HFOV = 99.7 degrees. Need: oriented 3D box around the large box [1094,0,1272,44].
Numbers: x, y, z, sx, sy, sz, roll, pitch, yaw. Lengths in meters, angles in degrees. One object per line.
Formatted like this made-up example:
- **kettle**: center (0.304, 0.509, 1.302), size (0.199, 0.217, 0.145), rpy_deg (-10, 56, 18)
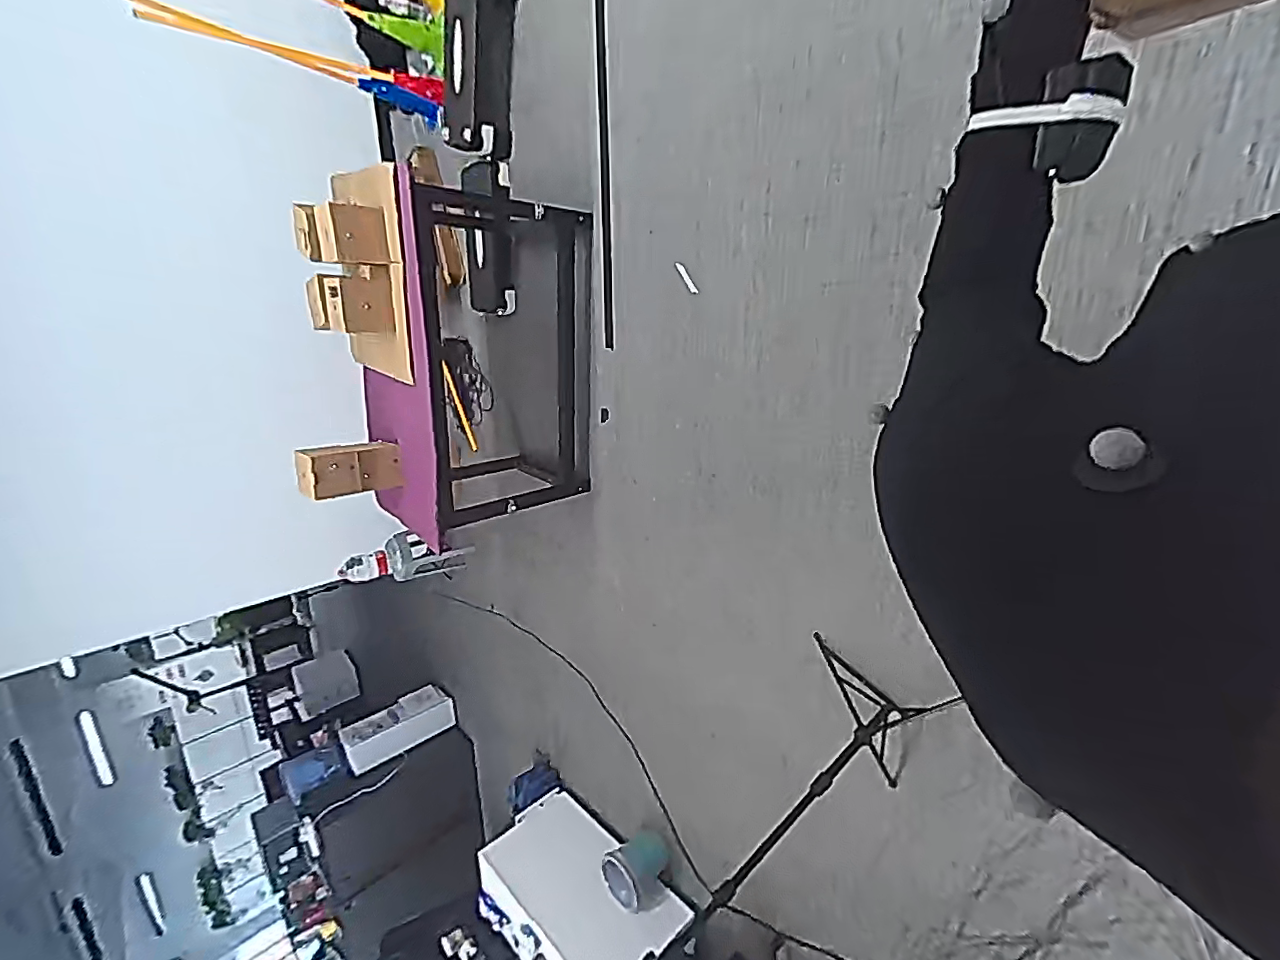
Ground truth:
- **large box**: center (0.510, -0.493, 0.271), size (0.408, 0.320, 0.320), rpy_deg (8, 124, 42)
